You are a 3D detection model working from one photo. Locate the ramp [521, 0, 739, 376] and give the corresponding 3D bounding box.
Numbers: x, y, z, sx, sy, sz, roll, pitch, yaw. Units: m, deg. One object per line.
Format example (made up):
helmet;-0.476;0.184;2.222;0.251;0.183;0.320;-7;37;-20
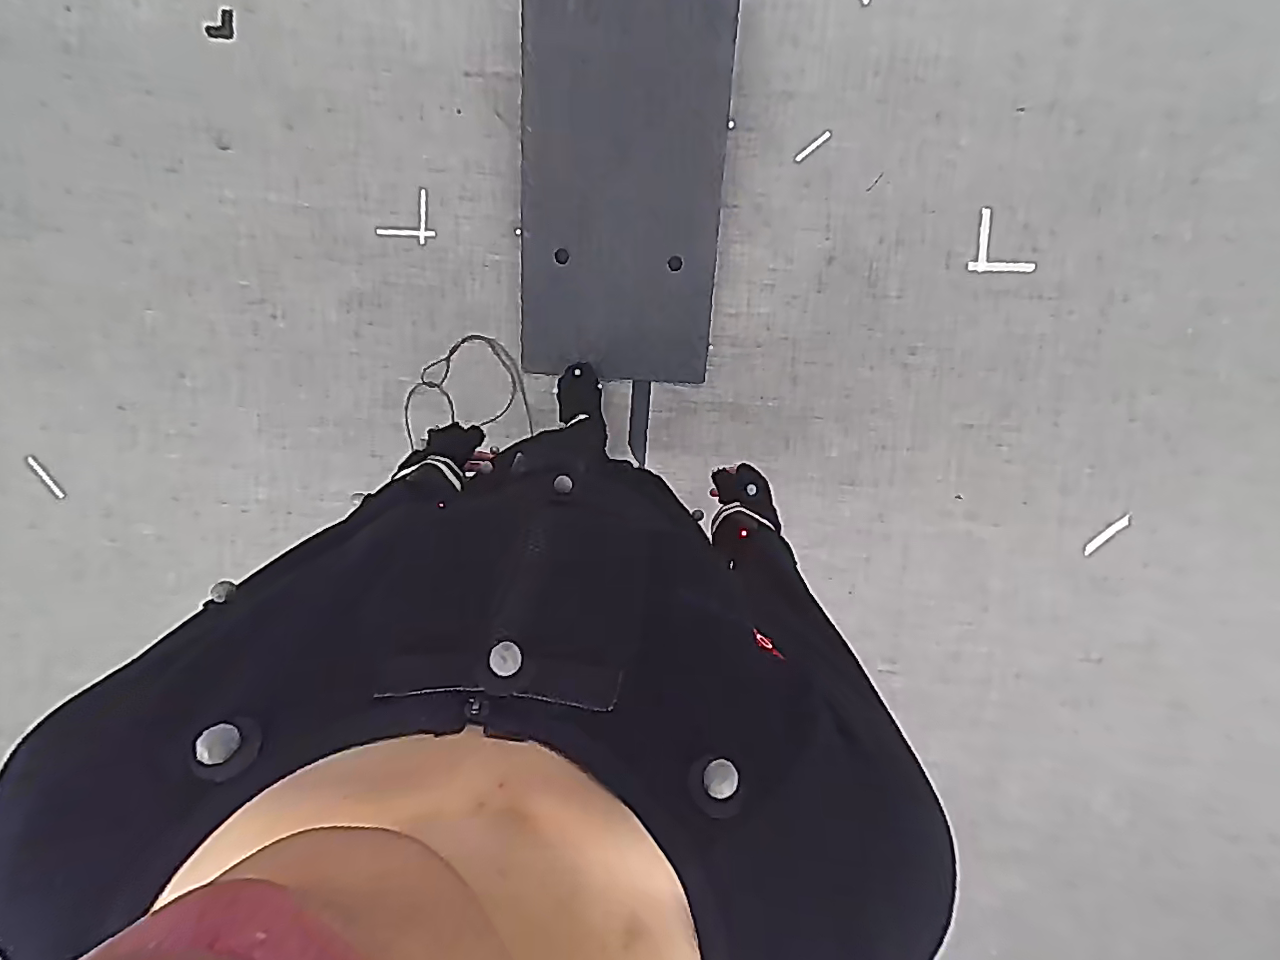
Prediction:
ramp;-0.039;-0.767;1.300;0.509;0.206;0.991;2;97;-1
